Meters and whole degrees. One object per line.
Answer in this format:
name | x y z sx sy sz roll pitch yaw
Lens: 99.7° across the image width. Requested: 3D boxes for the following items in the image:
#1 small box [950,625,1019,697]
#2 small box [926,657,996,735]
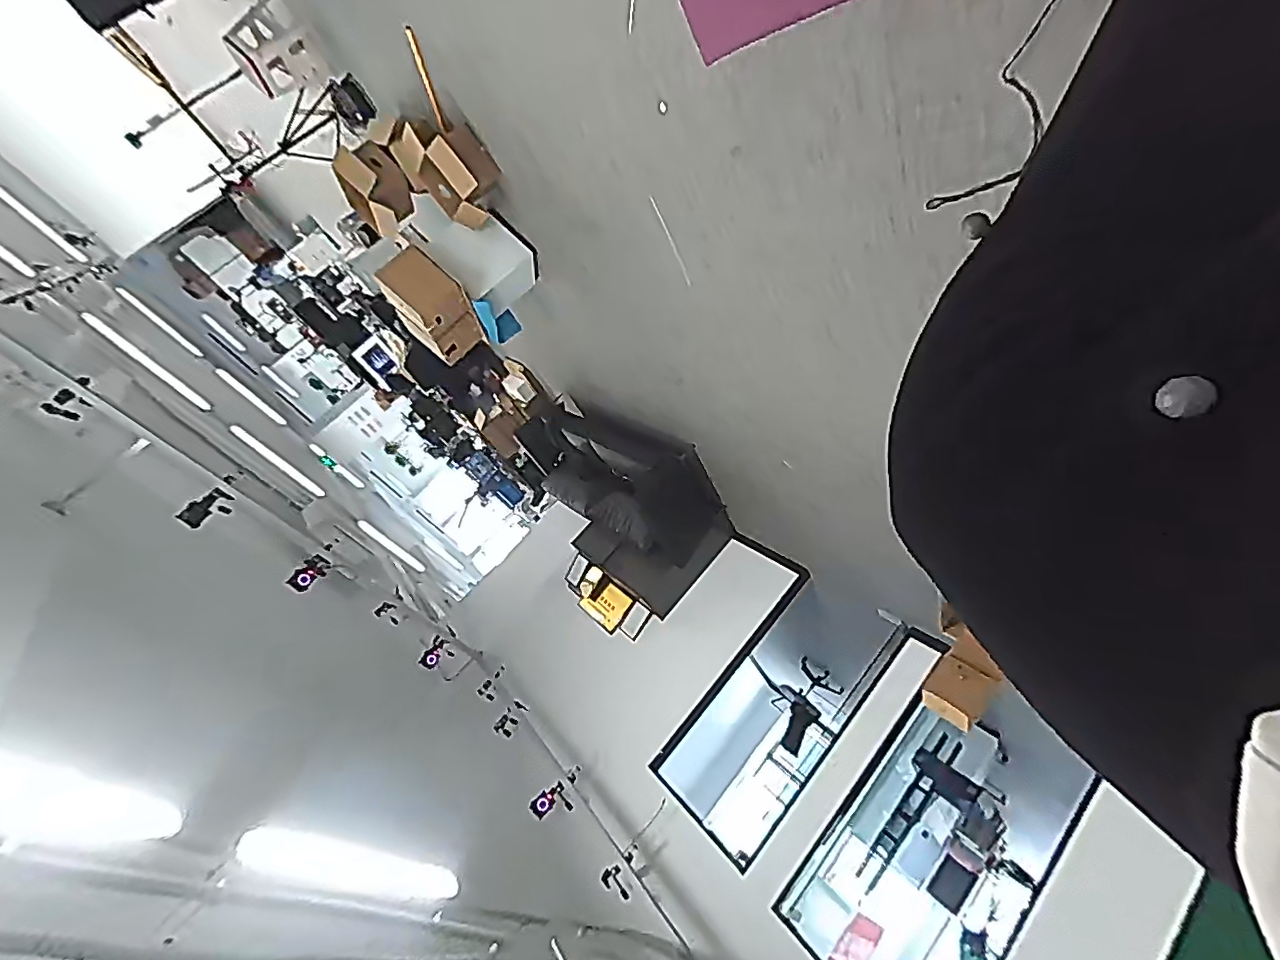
small box | 1.290 0.682 2.027 0.168 0.176 0.179 31 158 44
small box | 1.171 0.785 1.975 0.168 0.176 0.179 29 157 45
